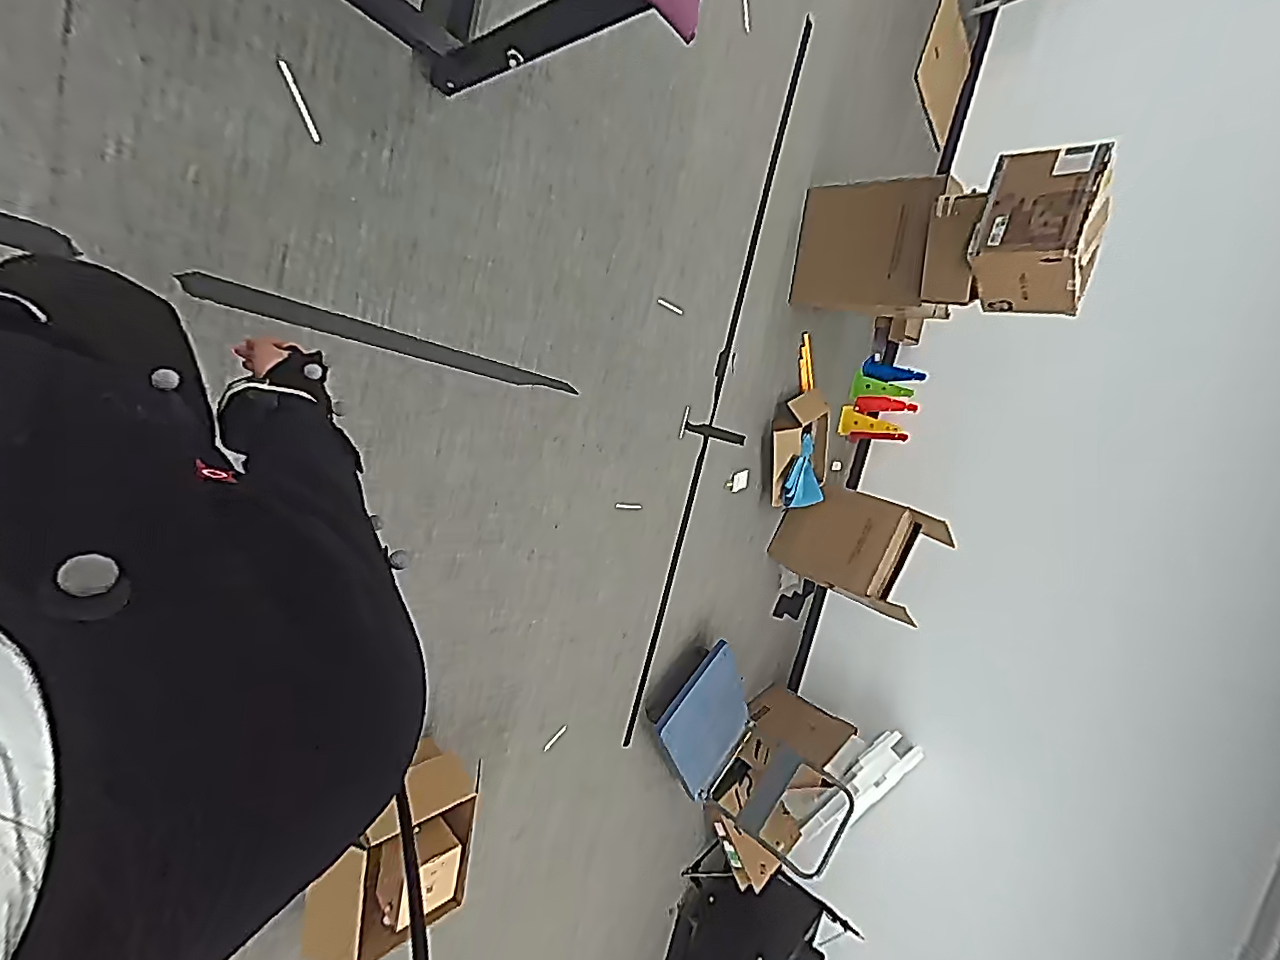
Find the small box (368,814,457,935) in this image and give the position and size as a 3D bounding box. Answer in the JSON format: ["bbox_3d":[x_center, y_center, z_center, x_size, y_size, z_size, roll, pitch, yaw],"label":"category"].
[{"bbox_3d":[-0.637,1.087,1.506,0.168,0.176,0.179,2,103,-50],"label":"small box"}]
